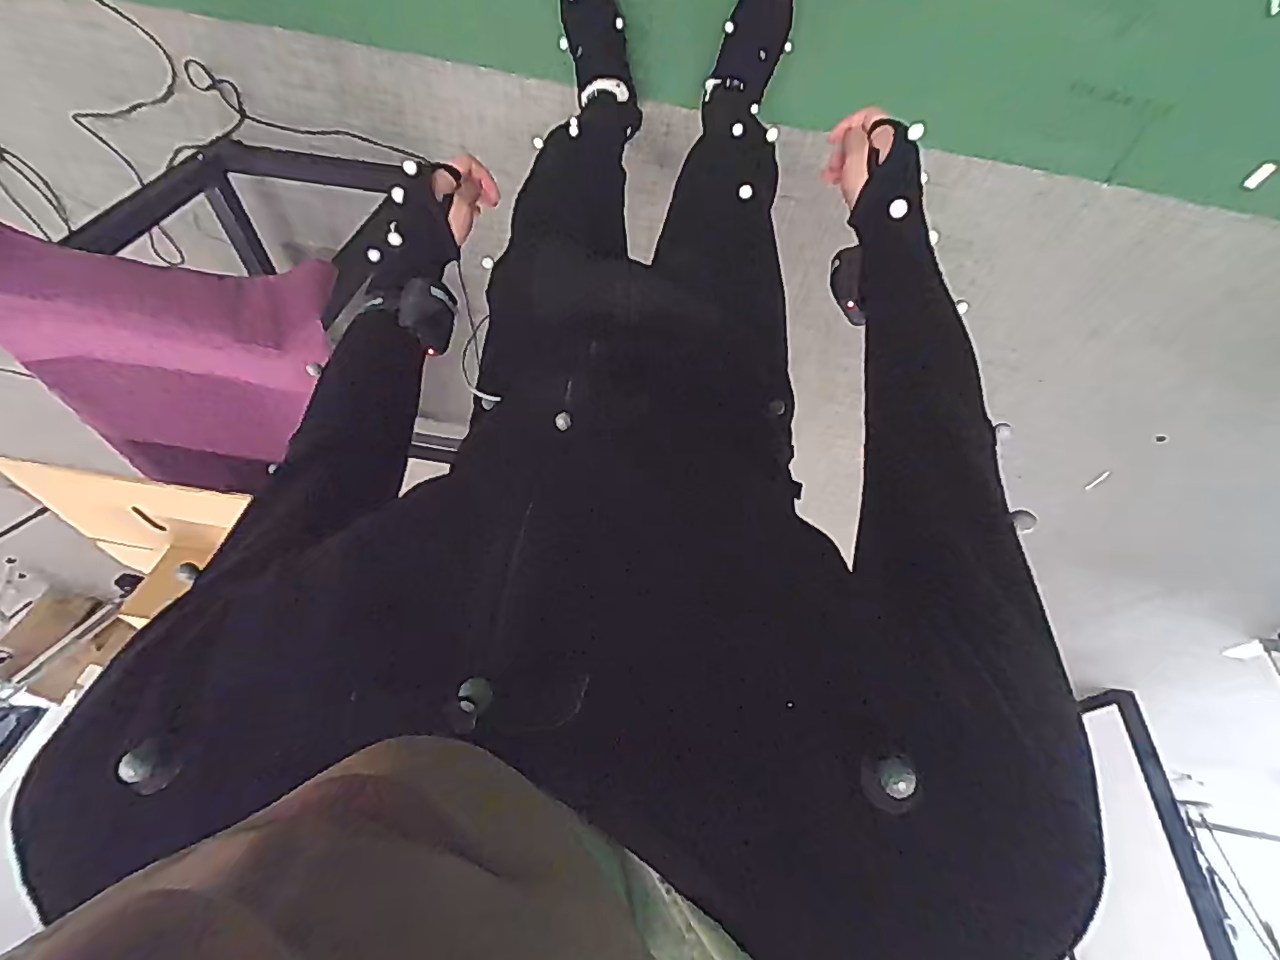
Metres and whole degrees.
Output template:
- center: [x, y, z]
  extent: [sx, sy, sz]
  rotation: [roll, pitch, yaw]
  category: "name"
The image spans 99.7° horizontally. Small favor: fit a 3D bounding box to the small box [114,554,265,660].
- center: [-0.992, 0.284, 1.218]
  extent: [0.179, 0.176, 0.168]
  rotation: [8, 141, 3]
  category: "small box"
